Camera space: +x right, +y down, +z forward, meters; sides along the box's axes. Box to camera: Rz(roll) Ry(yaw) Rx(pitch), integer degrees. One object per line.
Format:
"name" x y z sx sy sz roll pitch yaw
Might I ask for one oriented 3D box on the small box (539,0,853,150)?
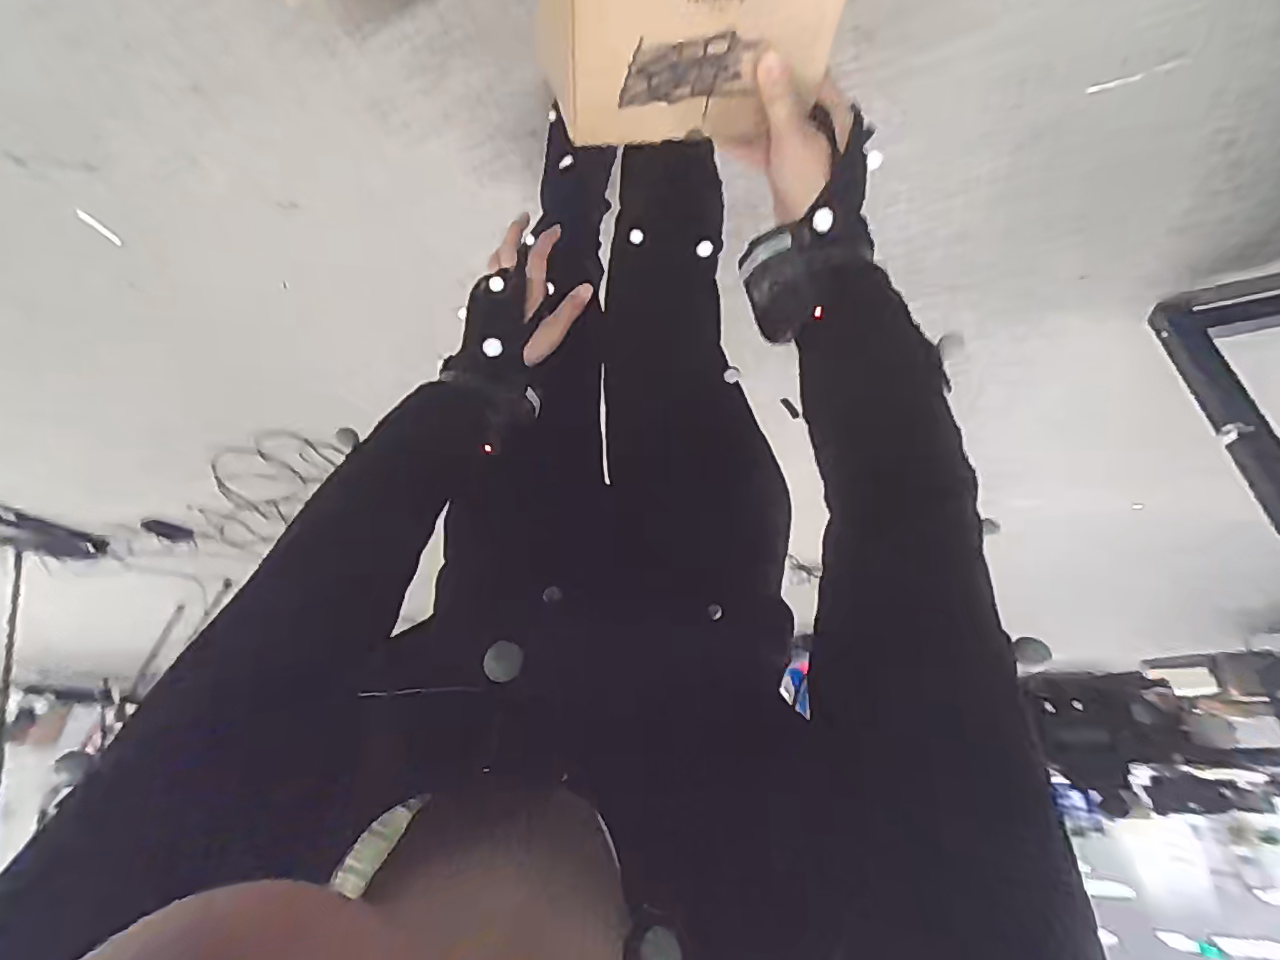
"small box" 0.027 -0.338 0.336 0.168 0.176 0.179 -8 147 -13
